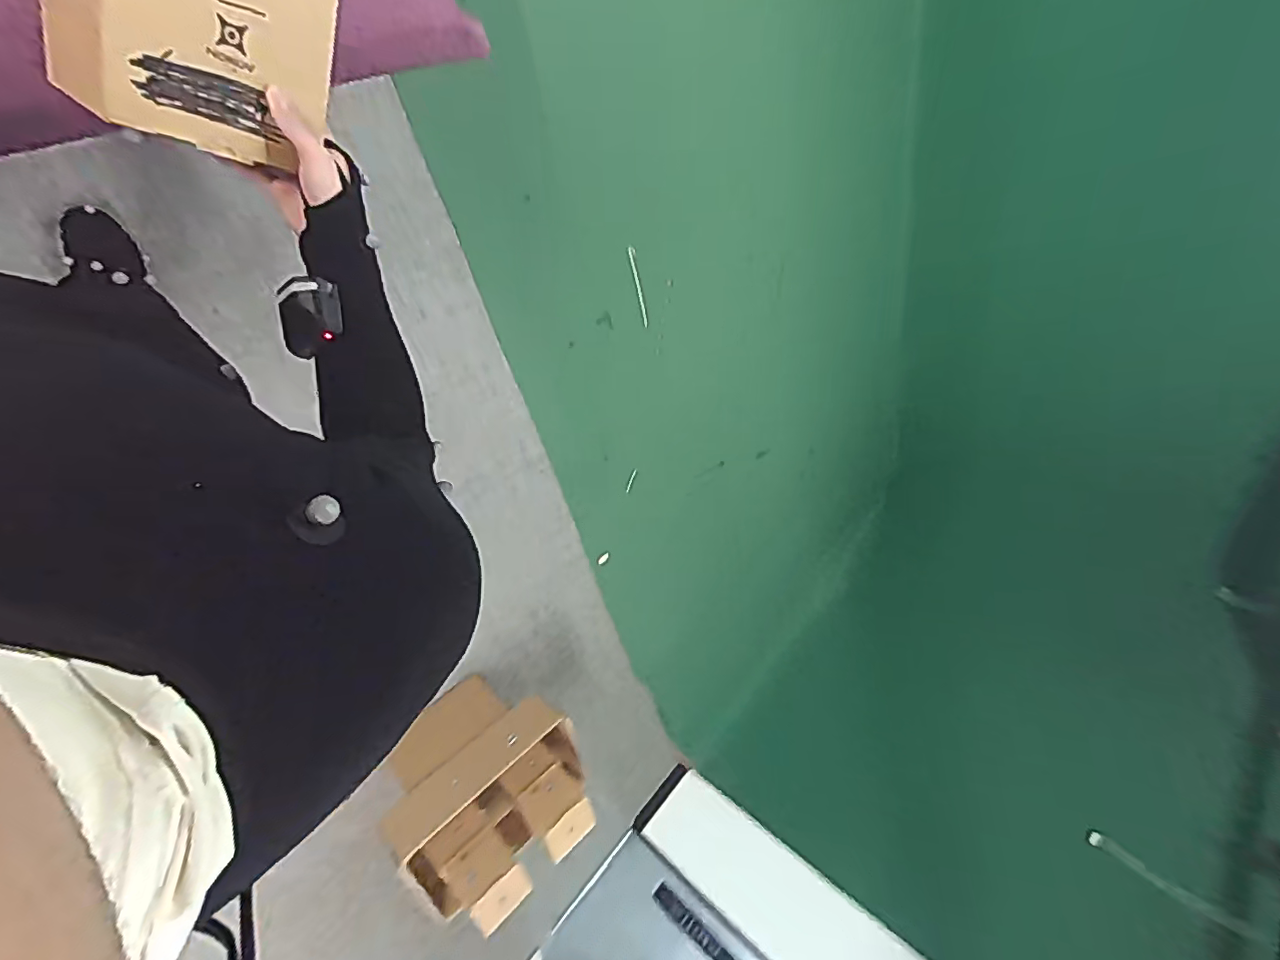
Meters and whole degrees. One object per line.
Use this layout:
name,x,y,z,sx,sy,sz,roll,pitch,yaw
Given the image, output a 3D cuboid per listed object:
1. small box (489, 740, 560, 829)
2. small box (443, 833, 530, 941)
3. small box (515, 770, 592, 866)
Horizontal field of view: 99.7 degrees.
small box,-0.392,1.048,1.876,0.179,0.176,0.168,-32,127,-34
small box,-0.461,1.203,1.614,0.168,0.176,0.179,-32,128,-33
small box,-0.283,1.093,1.762,0.168,0.176,0.179,-31,126,-34
